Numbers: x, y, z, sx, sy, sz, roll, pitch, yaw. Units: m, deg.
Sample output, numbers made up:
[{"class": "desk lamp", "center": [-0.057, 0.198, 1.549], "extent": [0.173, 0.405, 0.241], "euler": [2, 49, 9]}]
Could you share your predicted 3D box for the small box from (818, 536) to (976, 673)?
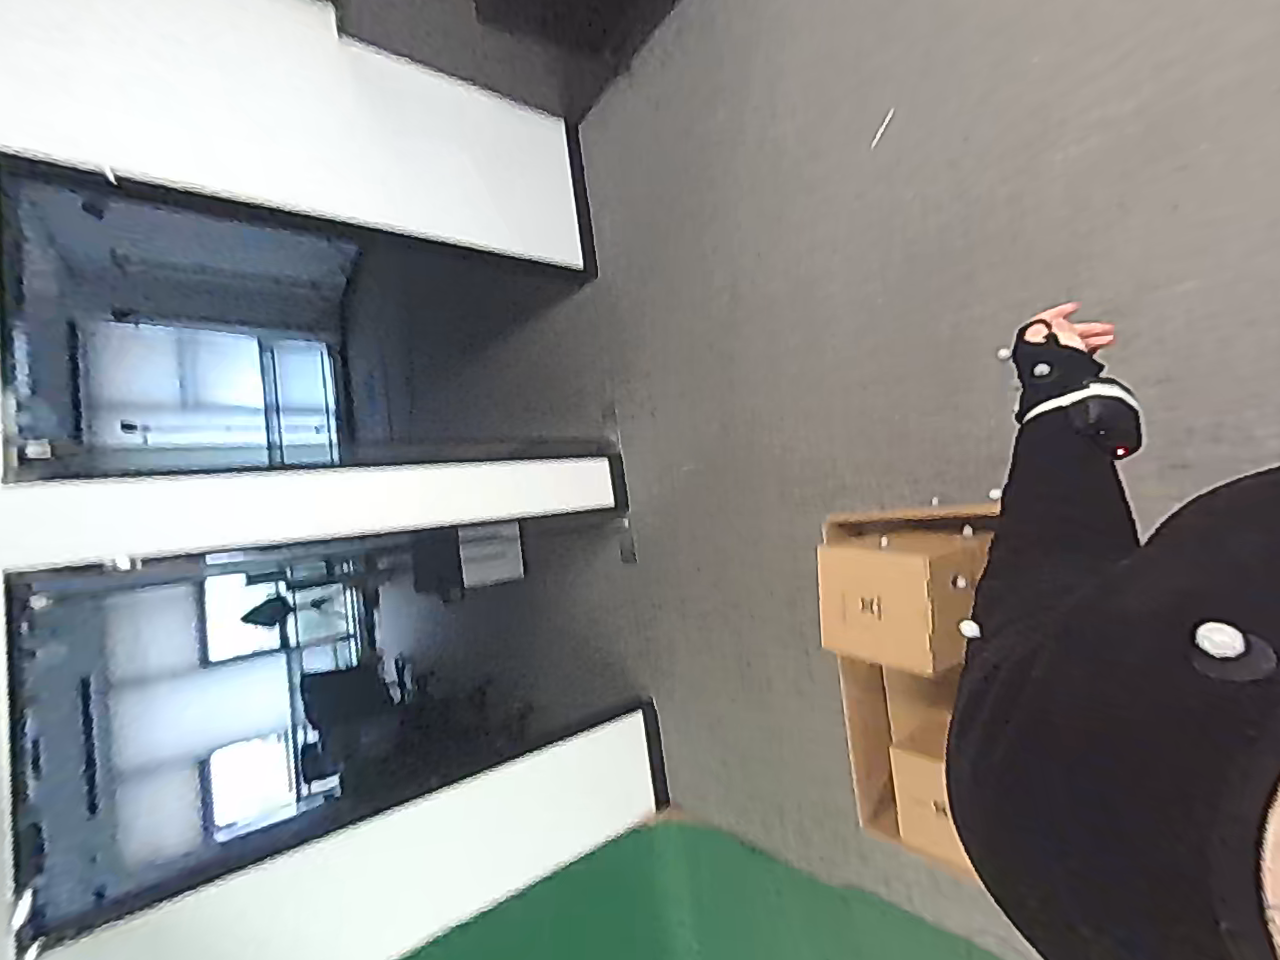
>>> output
[{"class": "small box", "center": [0.407, 0.182, 0.854], "extent": [0.179, 0.176, 0.168], "euler": [-1, 91, 54]}]
